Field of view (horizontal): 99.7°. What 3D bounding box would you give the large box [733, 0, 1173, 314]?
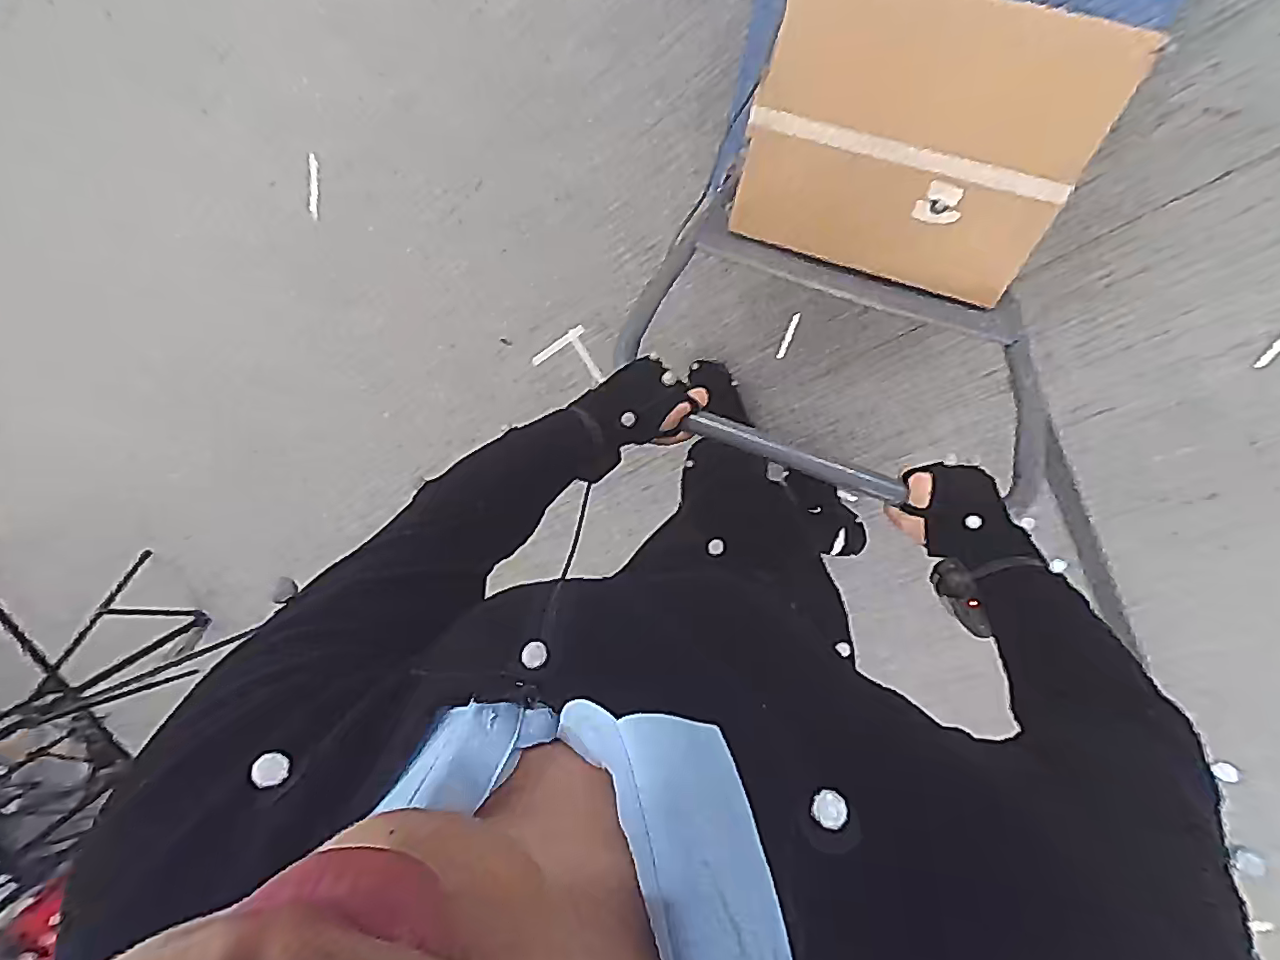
[{"bbox_3d":[0.393,-0.499,0.796,0.408,0.320,0.320,20,135,7],"label":"large box"}]
